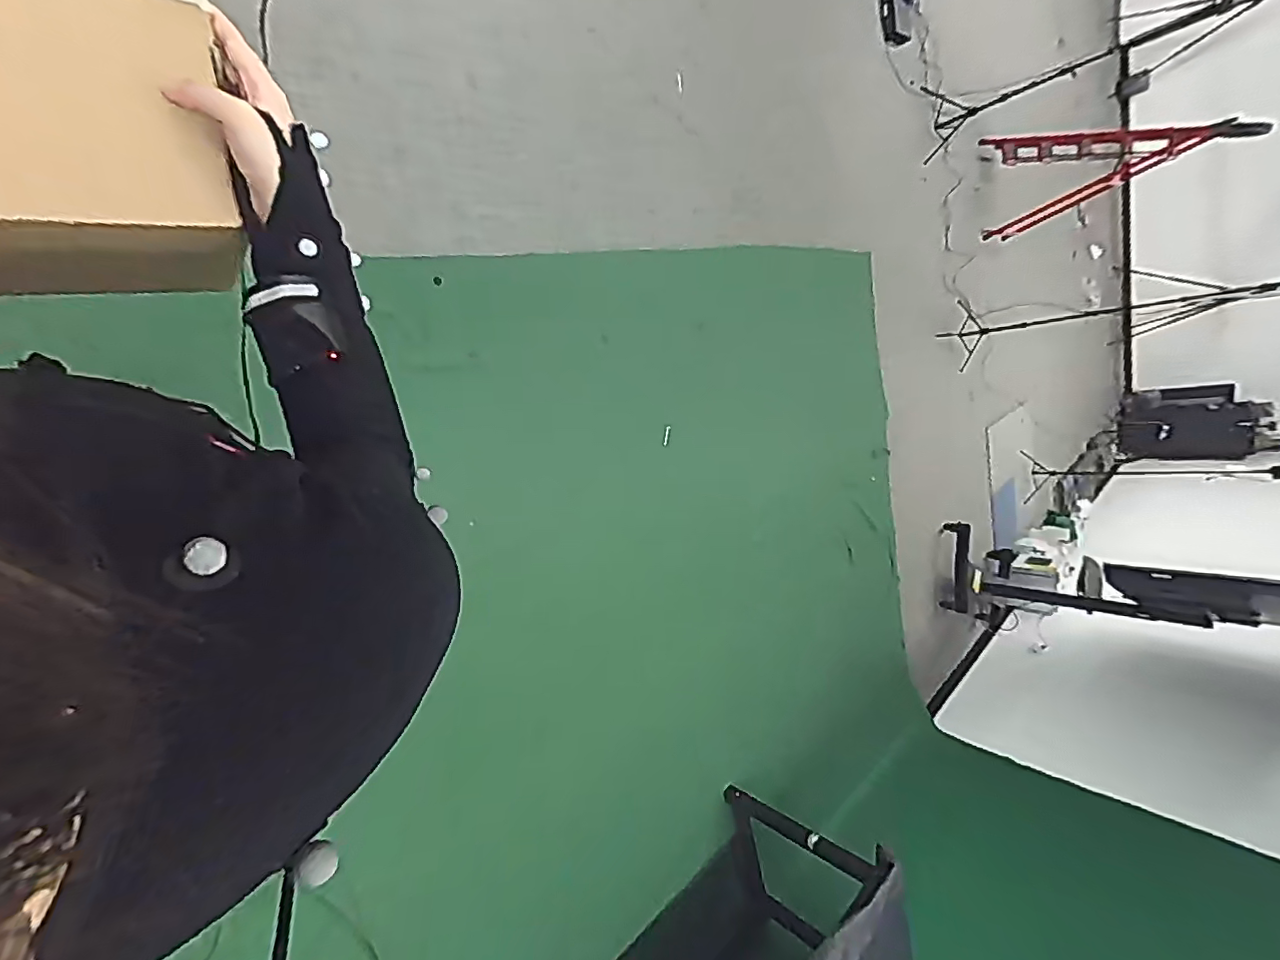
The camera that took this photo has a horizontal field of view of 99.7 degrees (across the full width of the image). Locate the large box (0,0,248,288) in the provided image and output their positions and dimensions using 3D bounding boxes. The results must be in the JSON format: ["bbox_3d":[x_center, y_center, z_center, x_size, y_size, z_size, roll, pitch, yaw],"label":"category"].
[{"bbox_3d":[-0.573,-0.317,0.393,0.408,0.320,0.320,-17,107,-36],"label":"large box"}]
